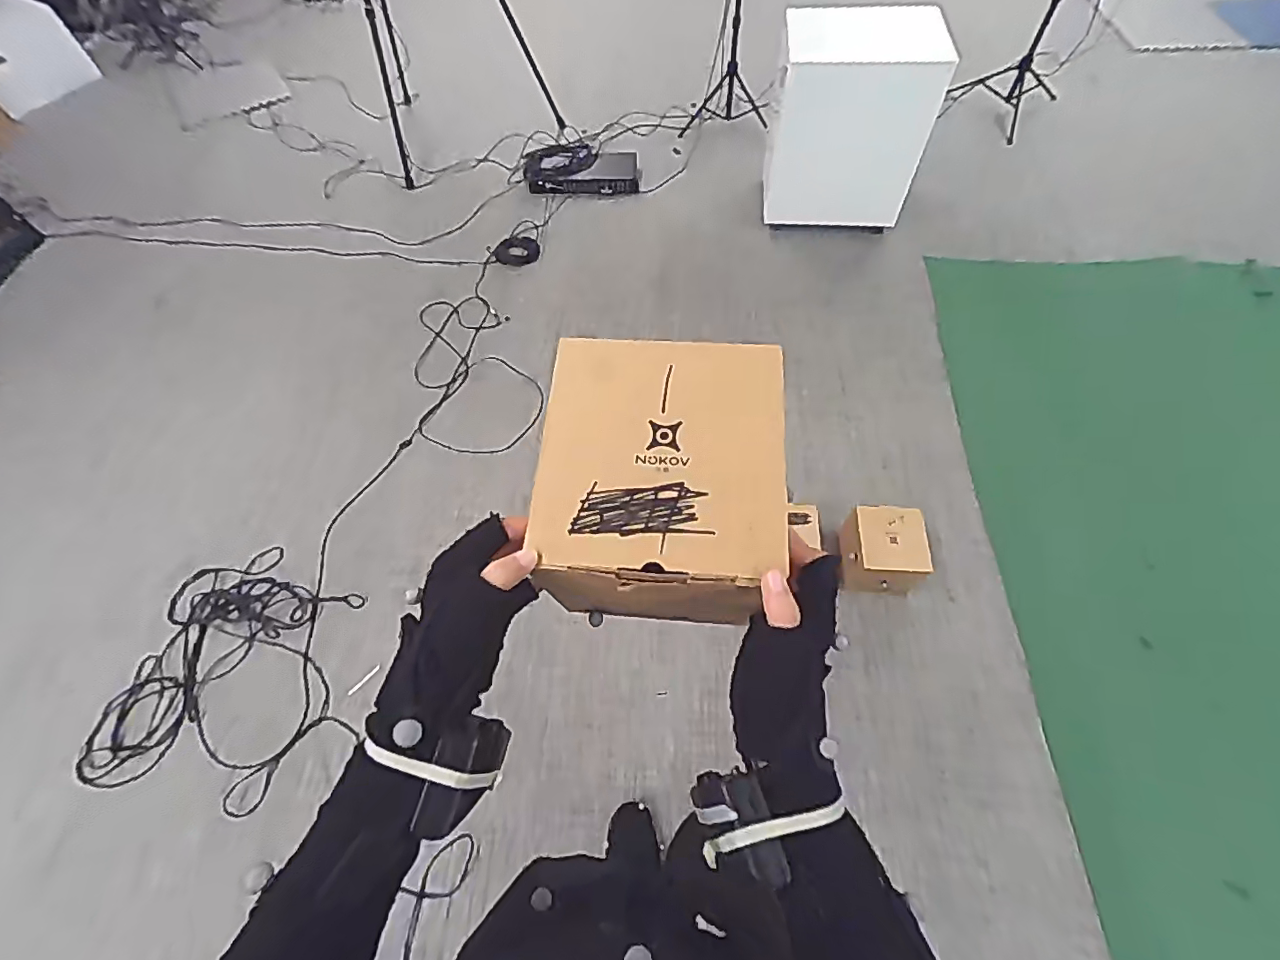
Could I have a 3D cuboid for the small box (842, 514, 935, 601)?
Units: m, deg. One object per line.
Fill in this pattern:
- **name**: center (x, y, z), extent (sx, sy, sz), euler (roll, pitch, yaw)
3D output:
- **small box**: center (0.637, 0.207, 1.409), extent (0.168, 0.176, 0.179), euler (3, 59, 4)
